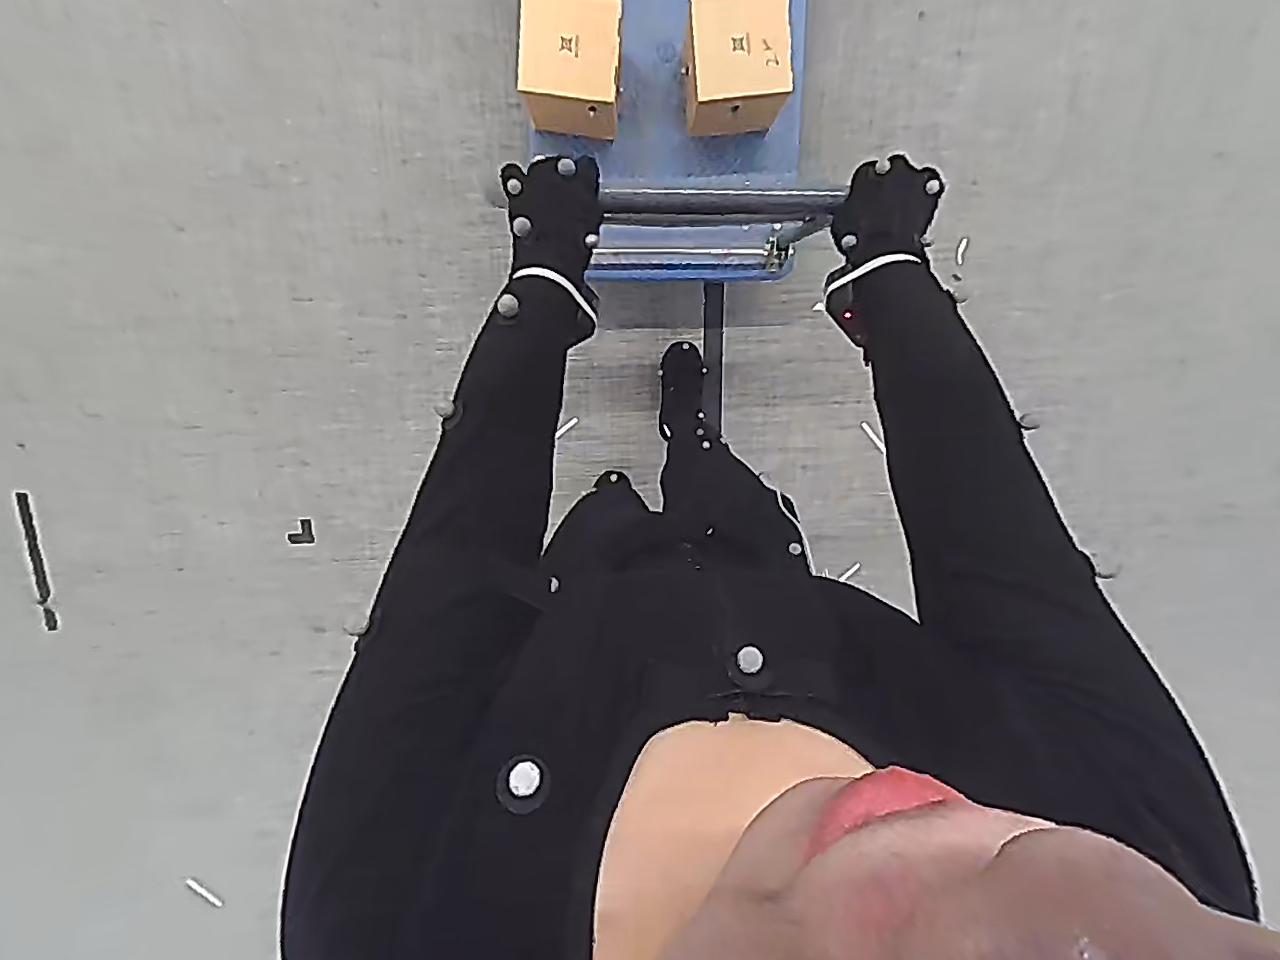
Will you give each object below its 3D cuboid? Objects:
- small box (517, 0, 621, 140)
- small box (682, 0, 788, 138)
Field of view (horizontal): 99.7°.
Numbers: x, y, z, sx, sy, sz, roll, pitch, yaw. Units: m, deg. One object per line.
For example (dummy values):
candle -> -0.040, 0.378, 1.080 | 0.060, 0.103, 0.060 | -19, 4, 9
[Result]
small box -> -0.131, -0.779, 1.036 | 0.179, 0.176, 0.168 | 4, 102, -4
small box -> 0.176, -0.786, 1.044 | 0.179, 0.176, 0.168 | -6, 103, 0
